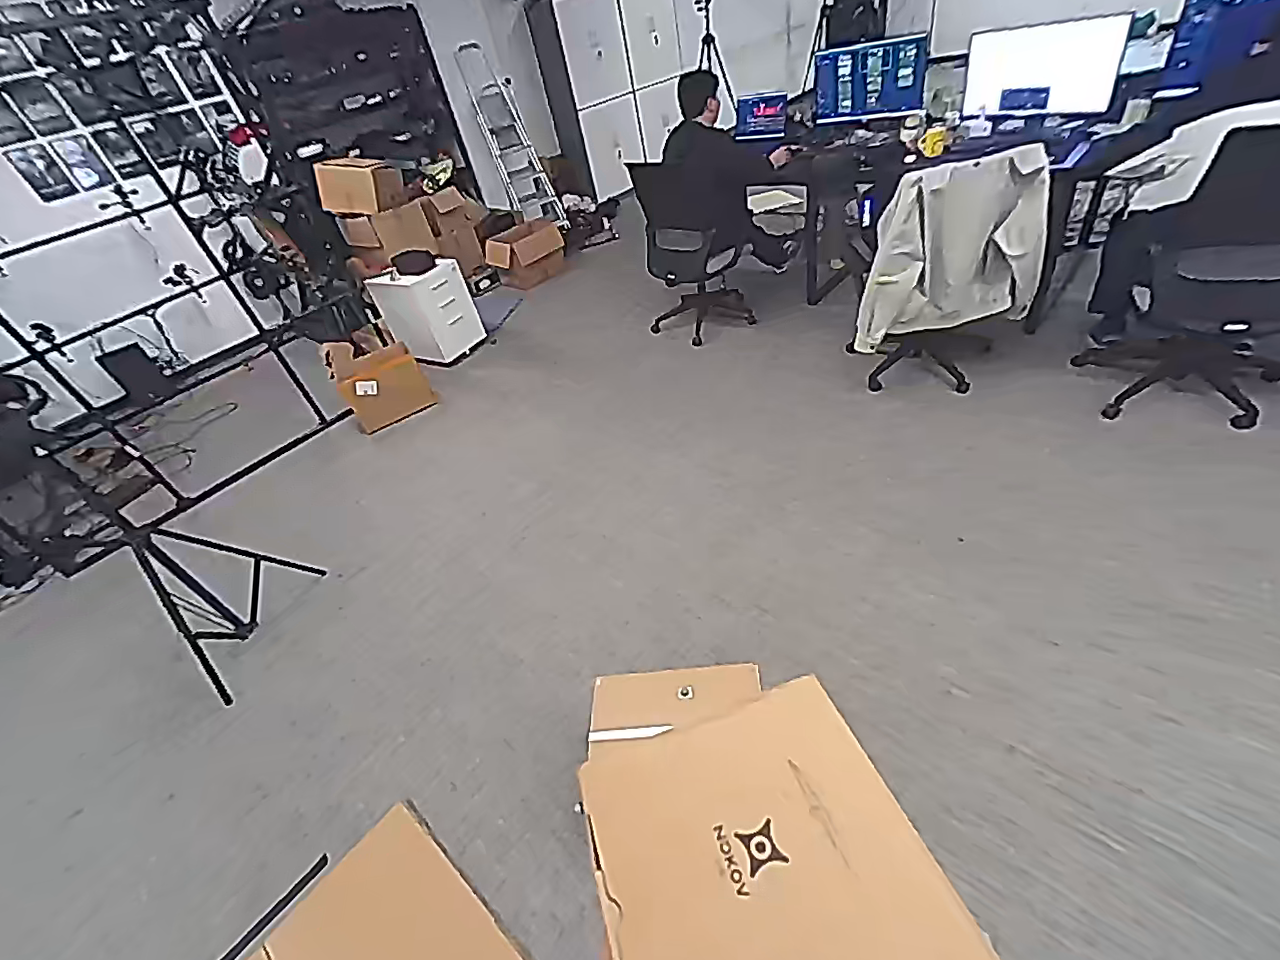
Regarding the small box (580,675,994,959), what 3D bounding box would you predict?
[{"bbox_3d":[0.077,0.268,0.353,0.179,0.176,0.168,-18,40,-10],"label":"small box"}]
